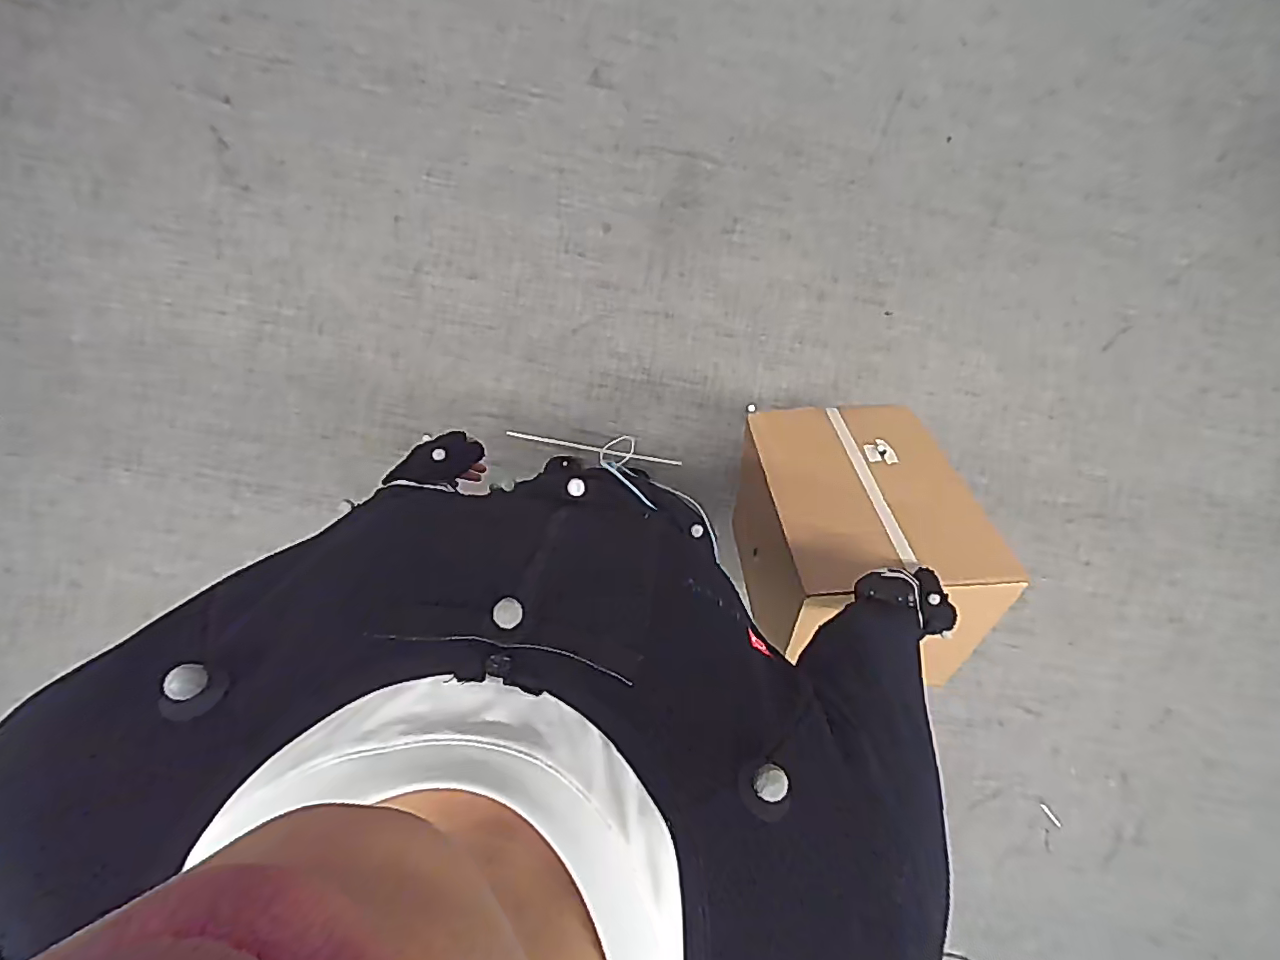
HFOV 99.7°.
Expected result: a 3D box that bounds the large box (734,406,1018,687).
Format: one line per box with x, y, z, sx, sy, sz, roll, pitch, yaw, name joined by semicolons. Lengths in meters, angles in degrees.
0.371;0.113;0.992;0.320;0.408;0.320;-2;134;-2;large box
